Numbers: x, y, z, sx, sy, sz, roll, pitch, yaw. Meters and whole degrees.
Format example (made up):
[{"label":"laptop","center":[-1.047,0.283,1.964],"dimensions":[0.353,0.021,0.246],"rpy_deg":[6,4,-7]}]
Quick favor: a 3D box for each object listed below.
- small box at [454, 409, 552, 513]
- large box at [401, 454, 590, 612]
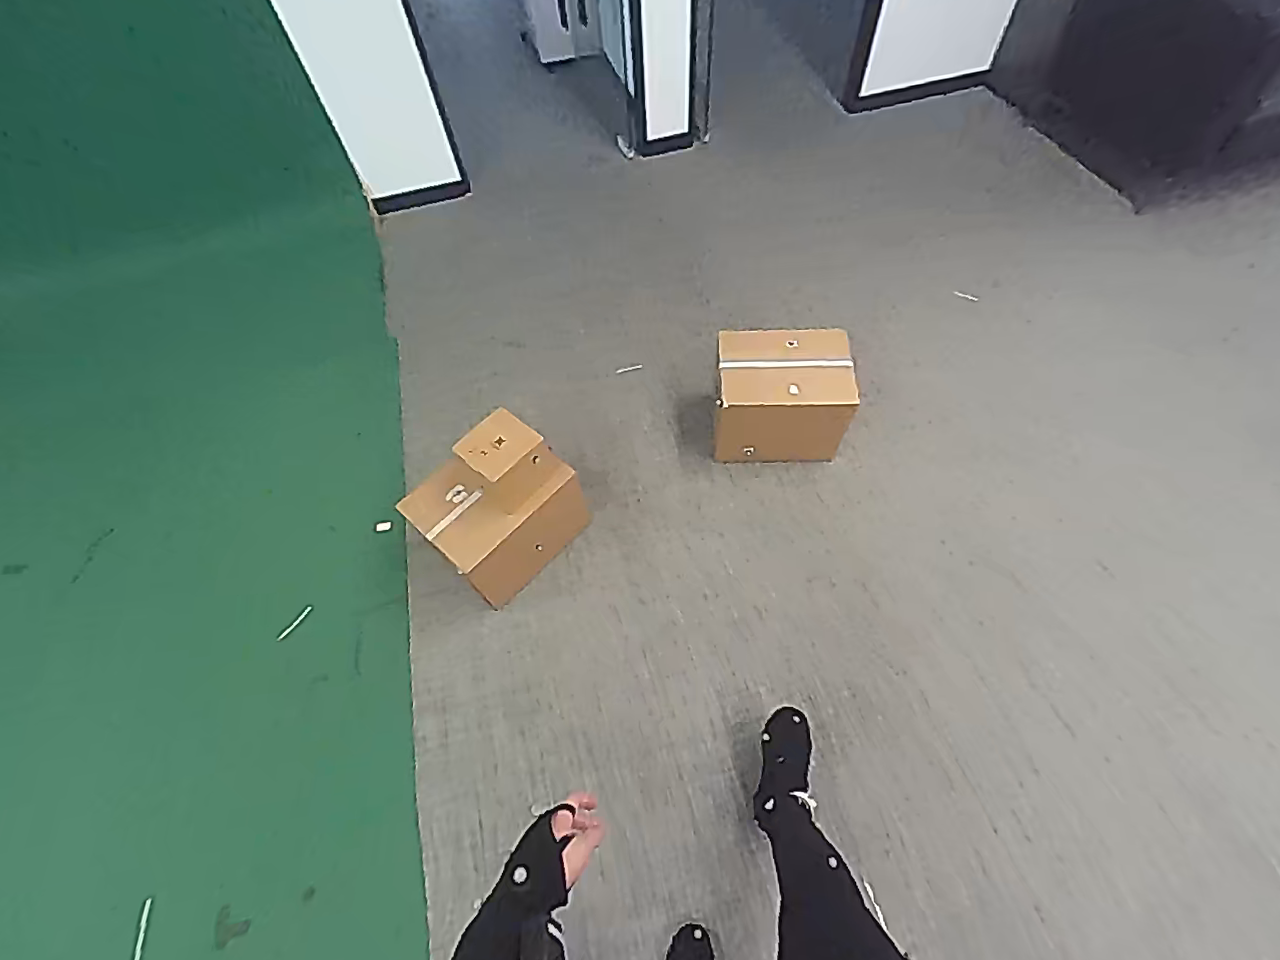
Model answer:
[{"label":"small box","center":[-0.349,-0.047,1.423],"dimensions":[0.168,0.176,0.179],"rpy_deg":[36,67,22]},{"label":"large box","center":[-0.407,0.113,1.620],"dimensions":[0.320,0.320,0.408],"rpy_deg":[35,68,23]}]
